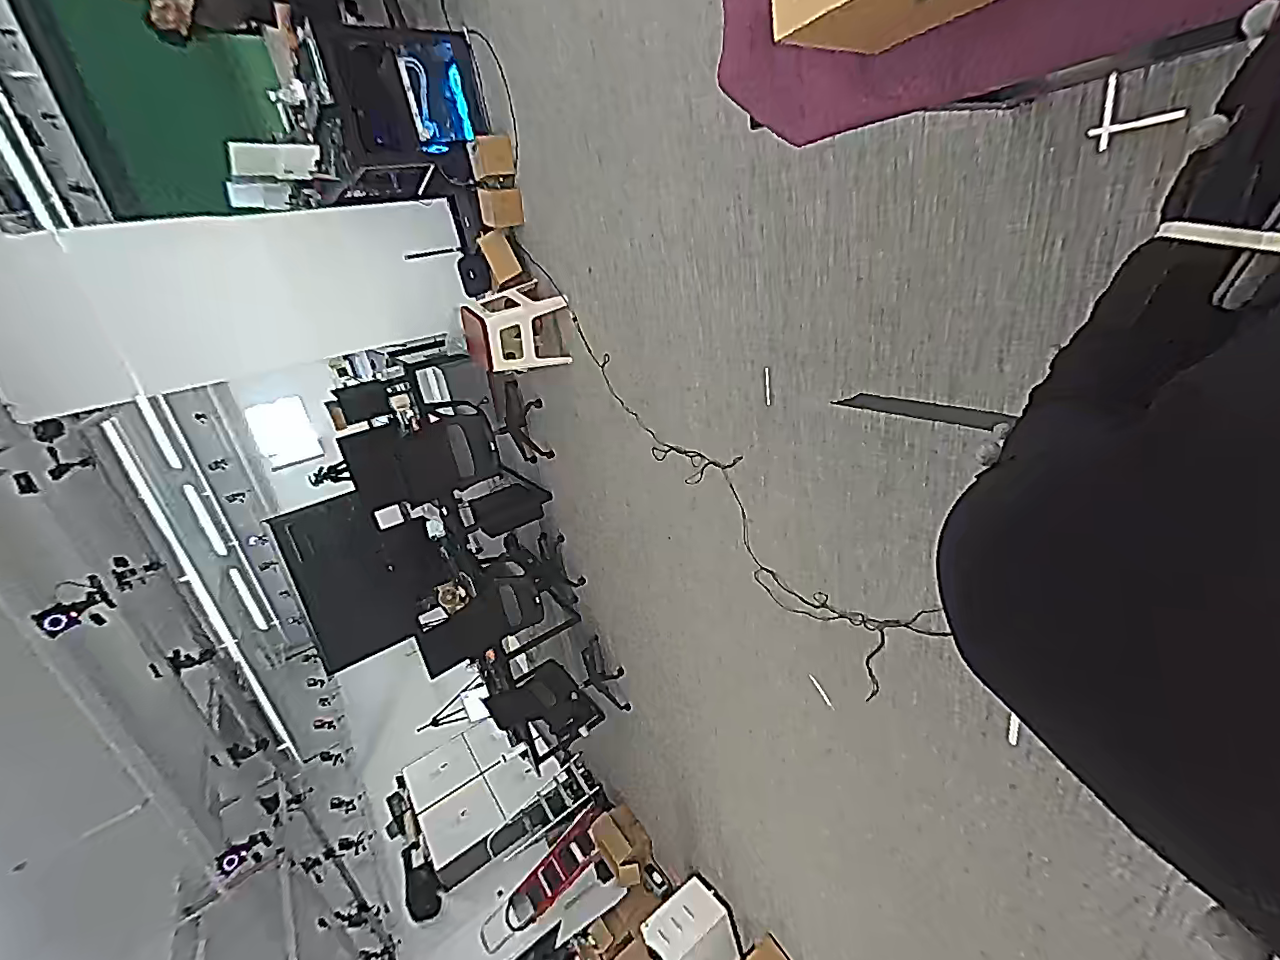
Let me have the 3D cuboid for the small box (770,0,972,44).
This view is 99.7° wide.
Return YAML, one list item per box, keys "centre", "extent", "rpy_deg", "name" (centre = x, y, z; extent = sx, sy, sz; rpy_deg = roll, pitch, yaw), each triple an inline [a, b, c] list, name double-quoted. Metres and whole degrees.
- centre: [0.233, -0.520, 0.479]
  extent: [0.179, 0.176, 0.168]
  rpy_deg: [19, 125, 52]
  name: "small box"
